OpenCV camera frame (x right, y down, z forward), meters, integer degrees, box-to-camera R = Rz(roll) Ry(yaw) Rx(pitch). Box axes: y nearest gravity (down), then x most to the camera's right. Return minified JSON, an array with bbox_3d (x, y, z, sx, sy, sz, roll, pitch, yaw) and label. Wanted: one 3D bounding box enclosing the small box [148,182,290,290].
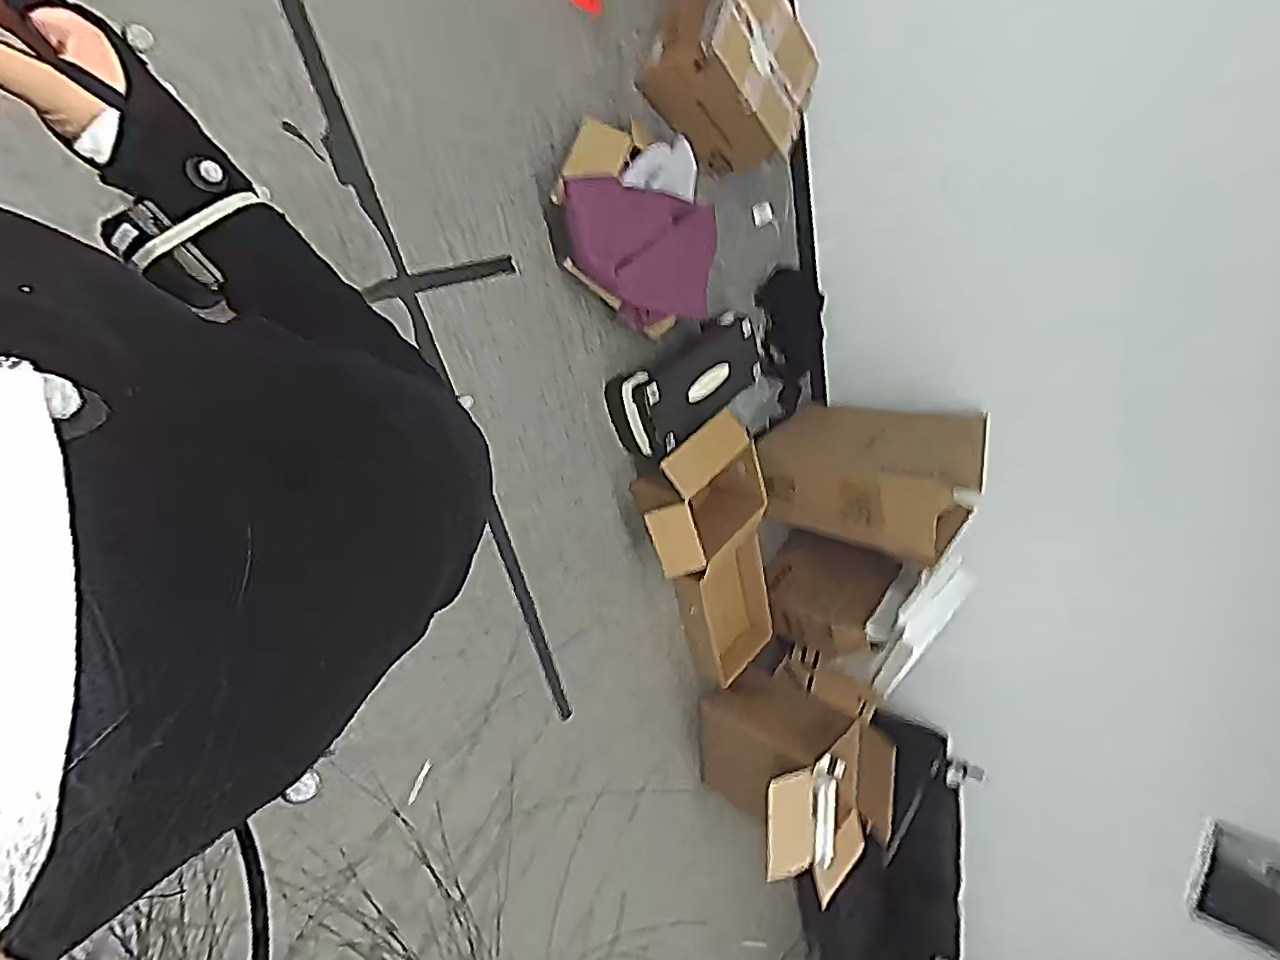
[{"bbox_3d":[-0.852,-0.491,1.098,0.179,0.176,0.168,-28,118,-35],"label":"small box"}]
